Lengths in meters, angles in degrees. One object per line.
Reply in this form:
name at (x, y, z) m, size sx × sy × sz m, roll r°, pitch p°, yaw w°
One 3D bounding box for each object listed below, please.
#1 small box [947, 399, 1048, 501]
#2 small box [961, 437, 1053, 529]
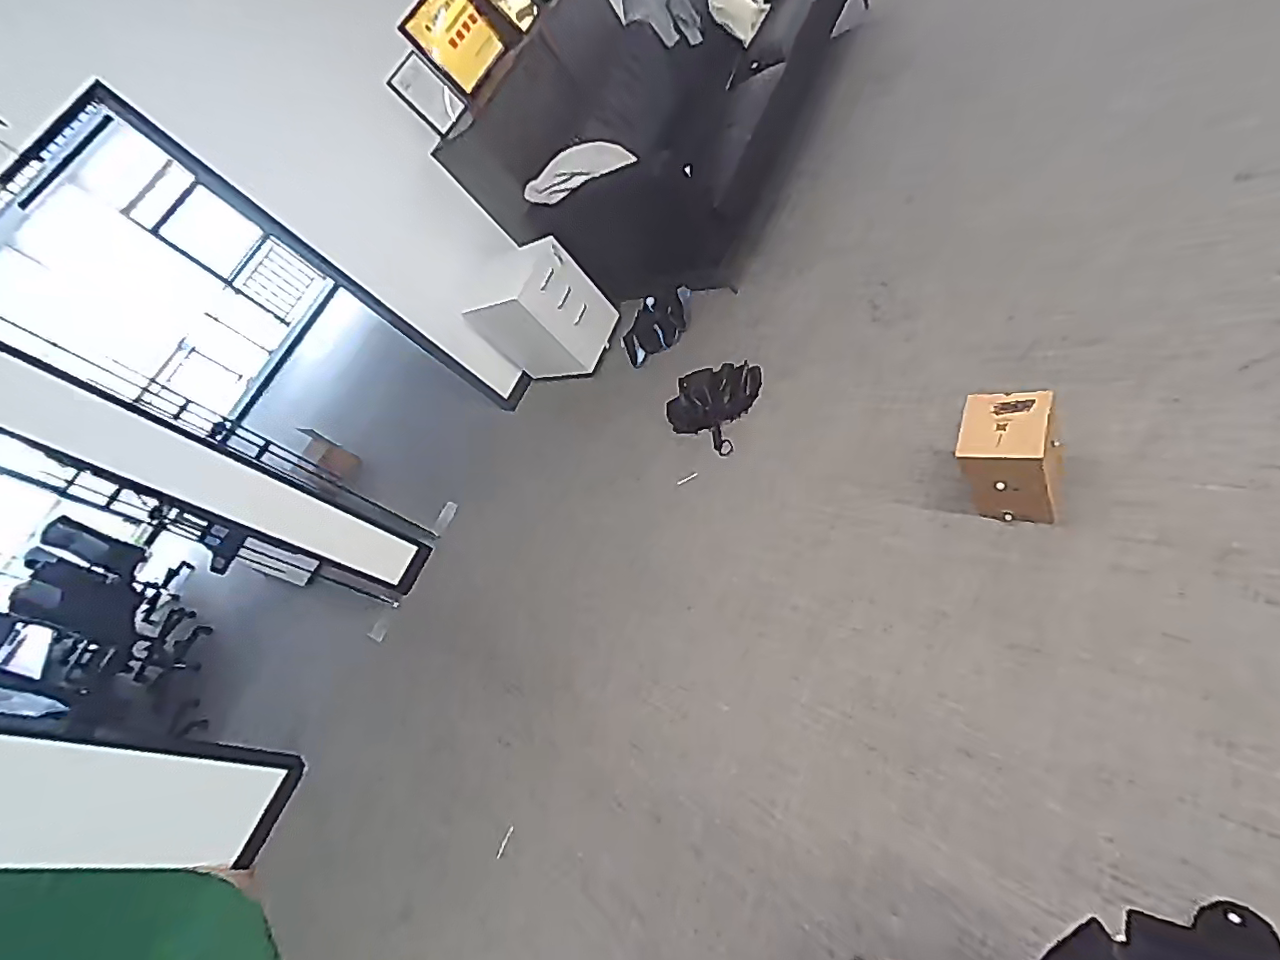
small box at (0.843, -0.072, 1.268) m, size 0.168 × 0.176 × 0.179 m, roll 6°, pitch 65°, yaw 43°
small box at (0.940, 0.003, 1.378) m, size 0.168 × 0.176 × 0.179 m, roll 6°, pitch 66°, yaw 43°
